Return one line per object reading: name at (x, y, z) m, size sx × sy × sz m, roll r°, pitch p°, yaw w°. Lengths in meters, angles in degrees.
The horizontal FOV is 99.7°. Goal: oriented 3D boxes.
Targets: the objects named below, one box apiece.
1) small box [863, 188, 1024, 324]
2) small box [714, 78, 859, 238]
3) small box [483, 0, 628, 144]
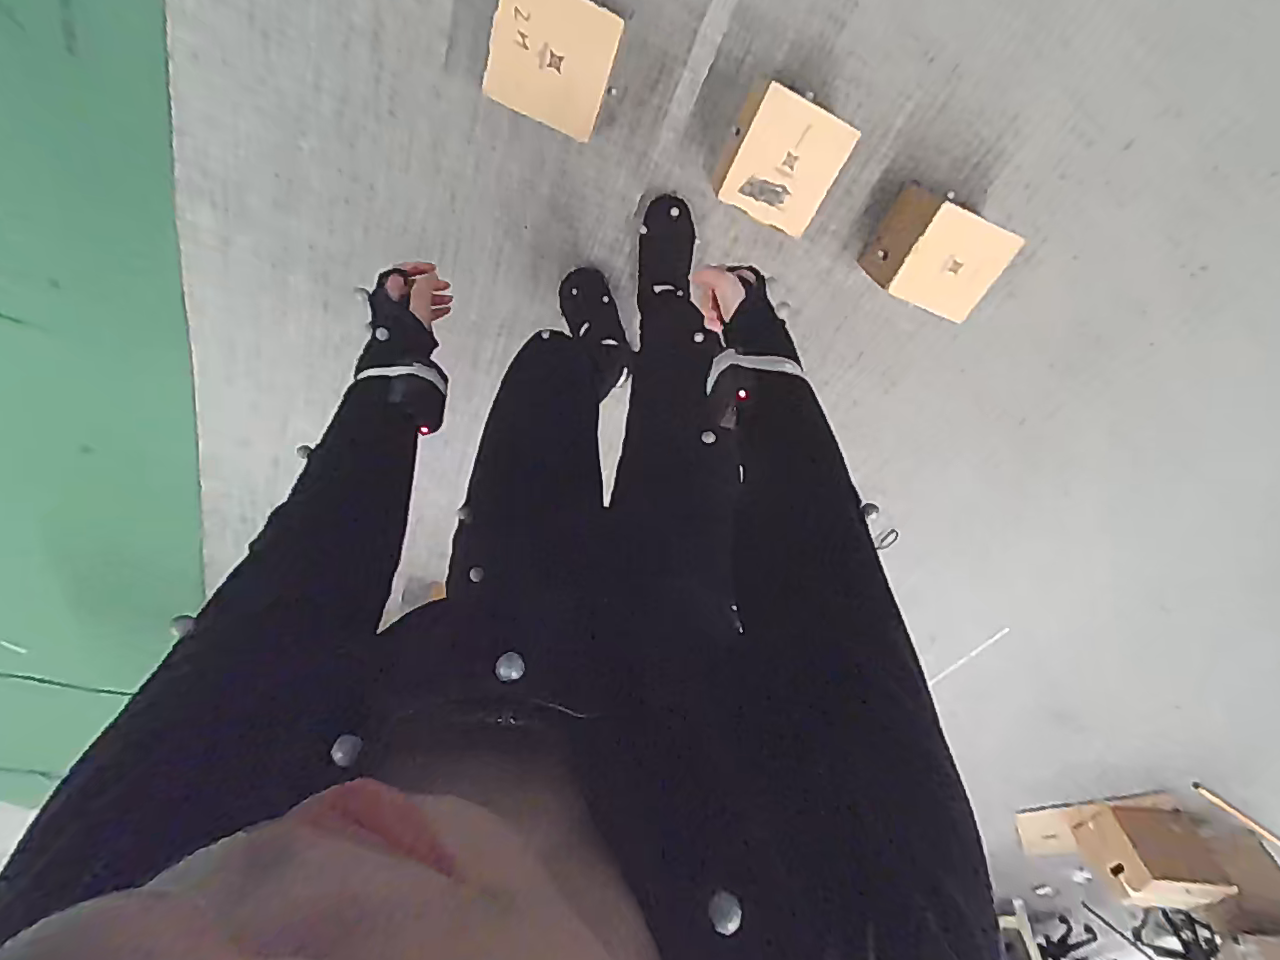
small box at (0.556, -0.429, 1.023) m, size 0.179 × 0.176 × 0.168 m, roll 18°, pitch 128°, yaw -12°
small box at (0.238, -0.556, 0.933) m, size 0.168 × 0.176 × 0.179 m, roll 20°, pitch 126°, yaw -14°
small box at (-0.126, -0.670, 0.856) m, size 0.179 × 0.176 × 0.168 m, roll 19°, pitch 126°, yaw -13°
